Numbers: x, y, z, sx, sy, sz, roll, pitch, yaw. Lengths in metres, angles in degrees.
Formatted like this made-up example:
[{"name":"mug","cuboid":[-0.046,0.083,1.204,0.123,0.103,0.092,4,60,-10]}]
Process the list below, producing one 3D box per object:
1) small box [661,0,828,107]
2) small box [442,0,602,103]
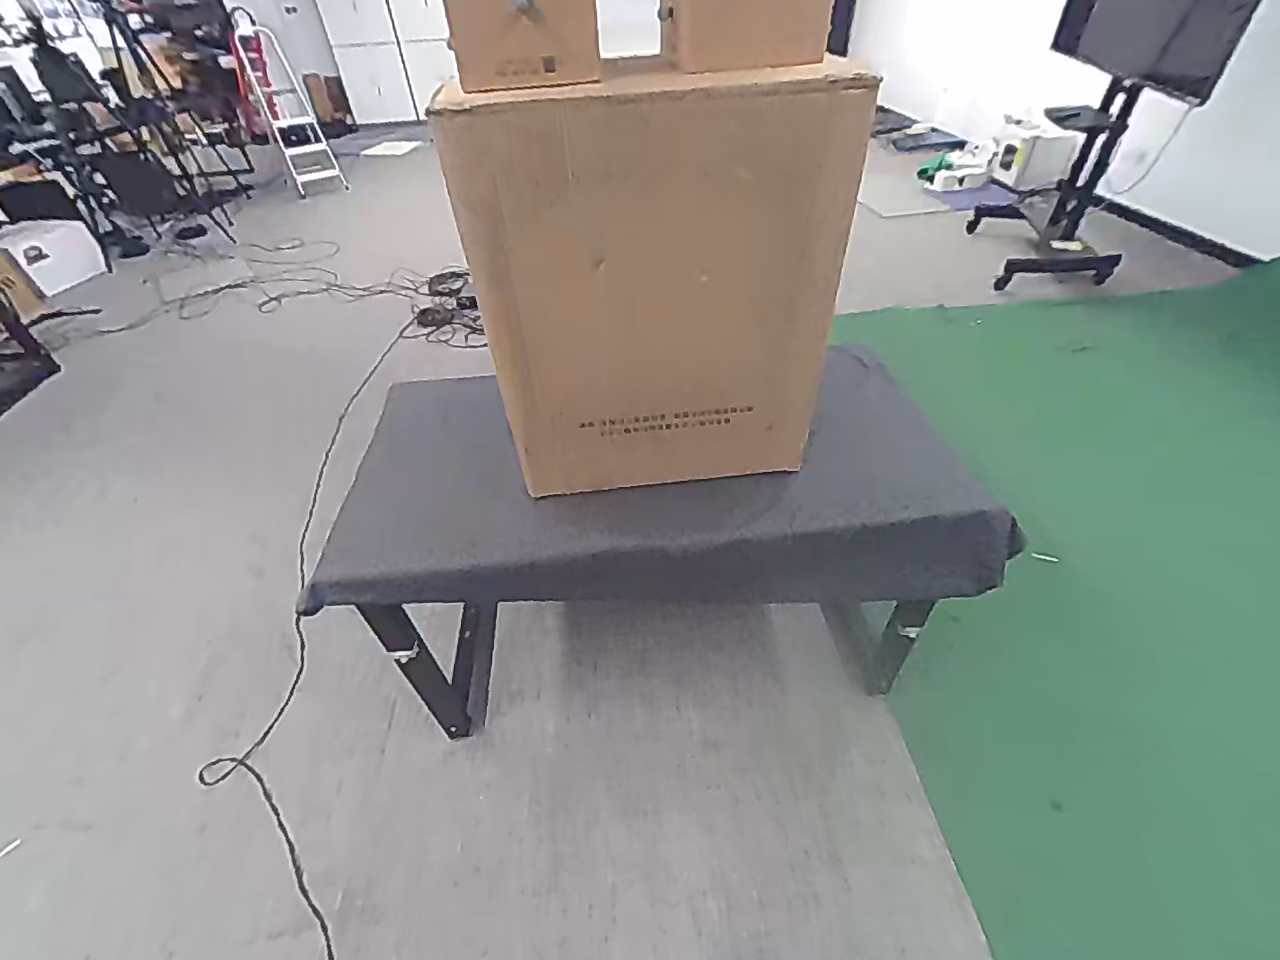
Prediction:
[{"name":"small box","cuboid":[0.124,-0.586,0.677,0.179,0.176,0.168,-8,44,-5]},{"name":"small box","cuboid":[-0.139,-0.564,0.644,0.168,0.176,0.179,-7,45,-4]}]
